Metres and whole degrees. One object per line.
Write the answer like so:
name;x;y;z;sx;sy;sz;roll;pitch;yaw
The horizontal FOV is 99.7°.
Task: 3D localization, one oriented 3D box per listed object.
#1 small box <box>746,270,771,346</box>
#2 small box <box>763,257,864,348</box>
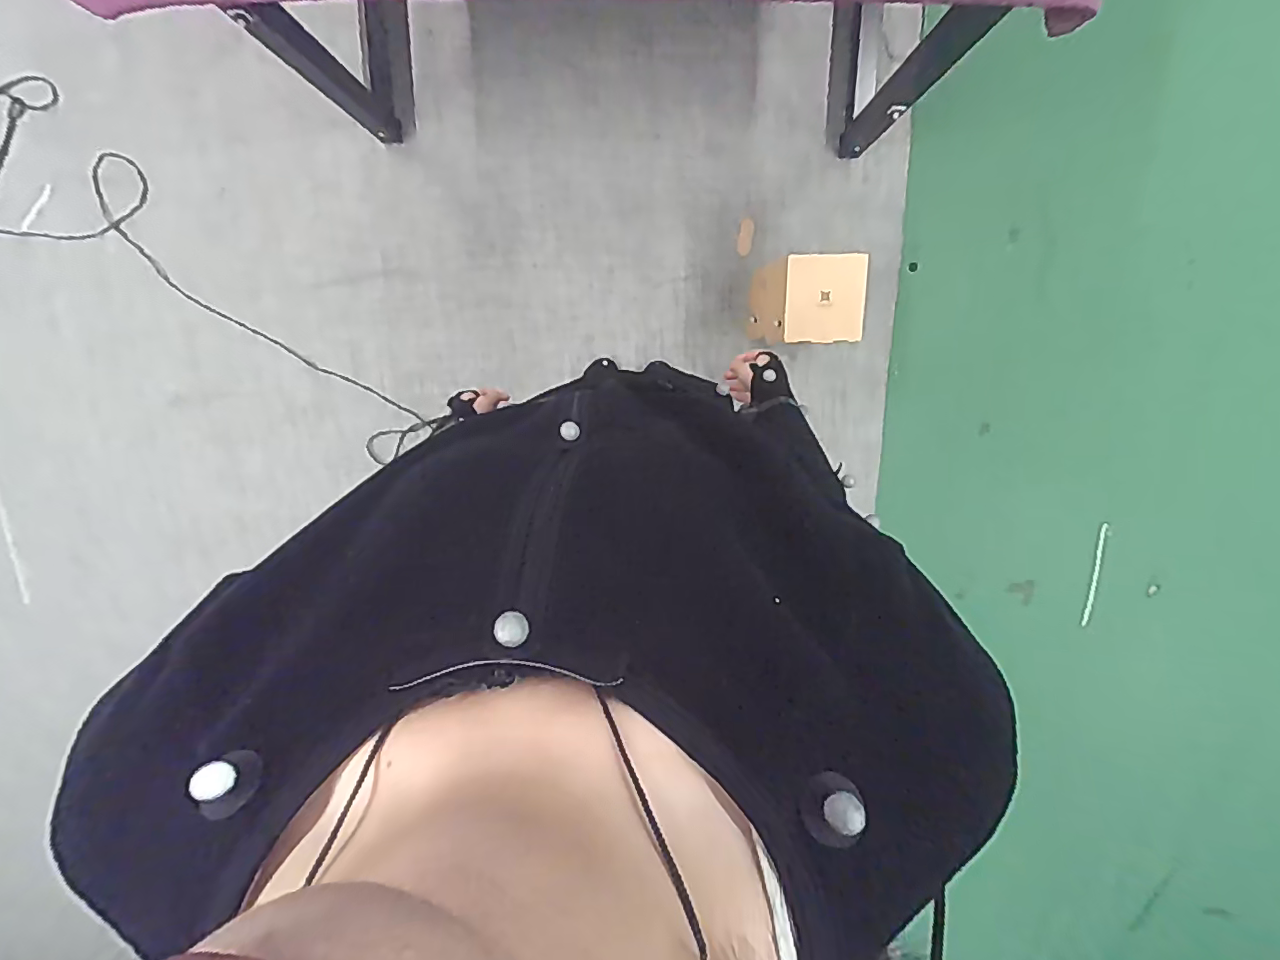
small box;0.367;-0.421;1.348;0.179;0.176;0.168;2;103;-1
small box;0.373;-0.384;1.190;0.168;0.176;0.179;-1;104;0
